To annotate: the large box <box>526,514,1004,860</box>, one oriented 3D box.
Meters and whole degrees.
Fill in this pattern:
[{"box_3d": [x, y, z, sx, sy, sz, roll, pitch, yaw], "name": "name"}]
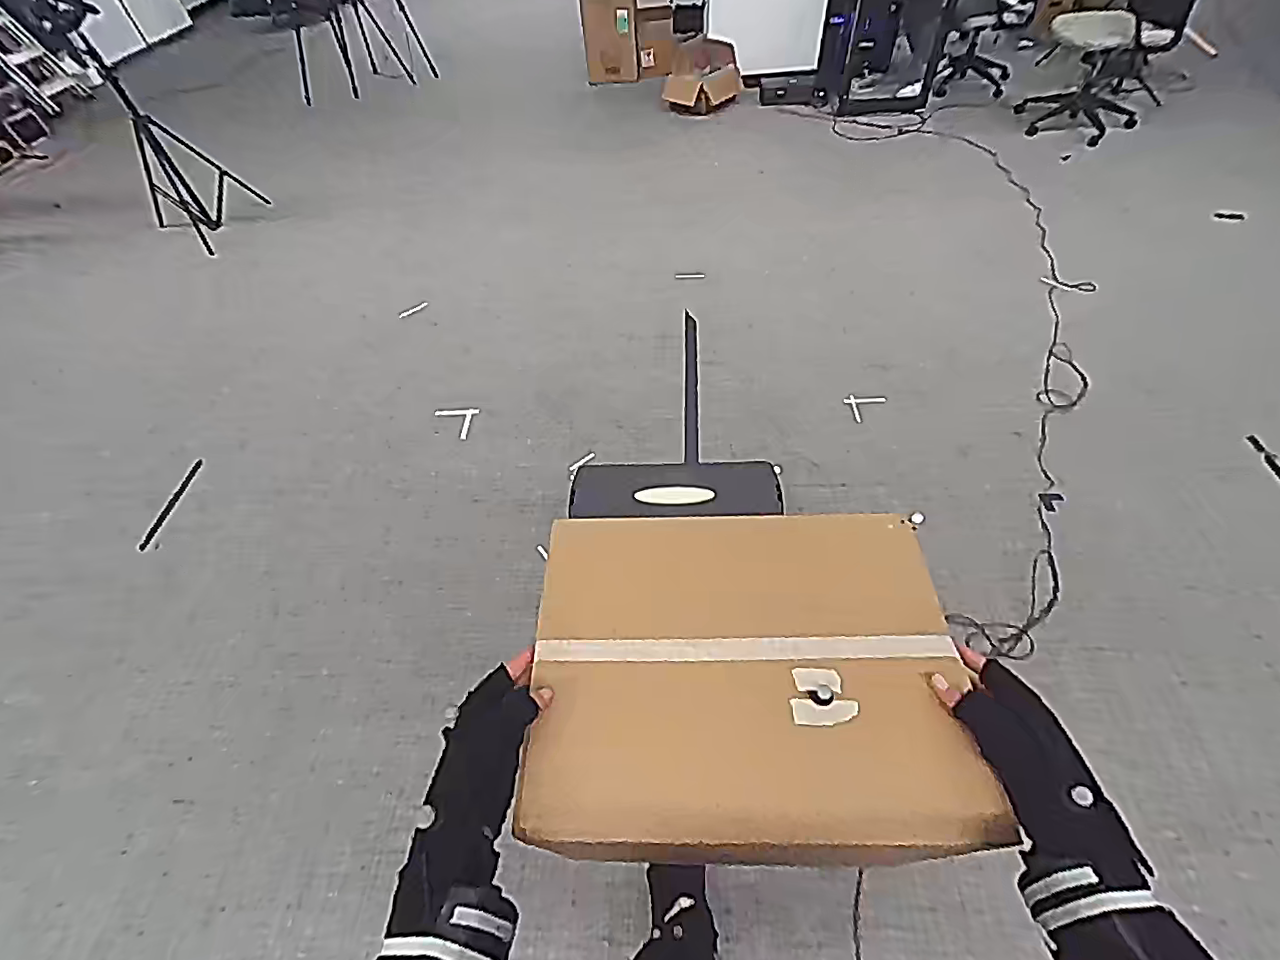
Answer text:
[{"box_3d": [0.105, 0.257, 0.653, 0.408, 0.320, 0.320, -1, 52, 2], "name": "large box"}]
